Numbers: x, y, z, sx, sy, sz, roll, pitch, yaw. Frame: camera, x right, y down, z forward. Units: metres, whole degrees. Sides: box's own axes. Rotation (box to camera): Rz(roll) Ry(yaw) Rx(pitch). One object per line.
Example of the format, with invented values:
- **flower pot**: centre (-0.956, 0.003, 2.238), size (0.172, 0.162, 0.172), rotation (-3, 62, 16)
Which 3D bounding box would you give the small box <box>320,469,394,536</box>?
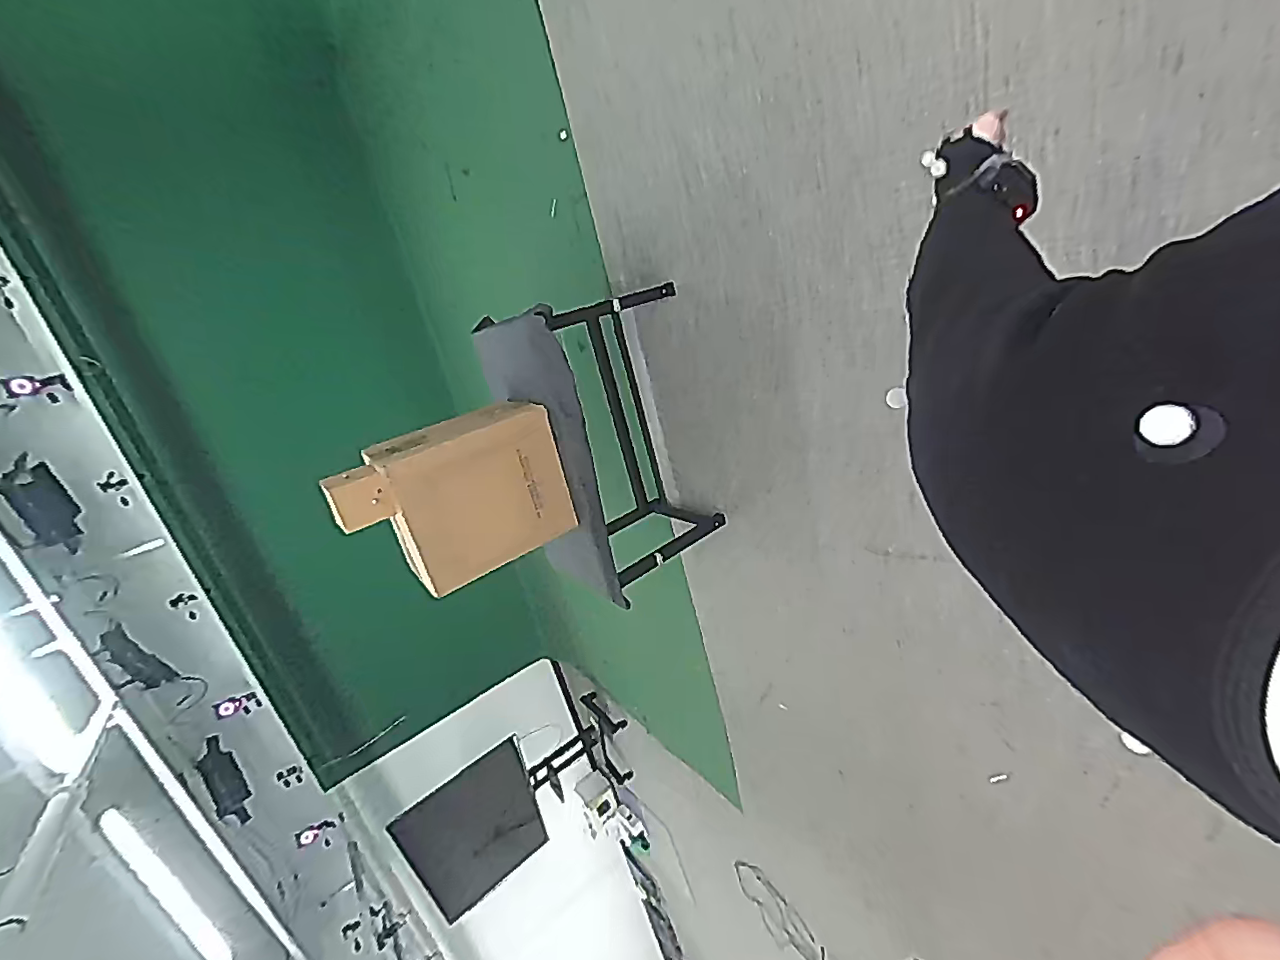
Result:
- **small box**: centre (-0.985, 0.071, 1.890), size (0.179, 0.176, 0.168), rotation (15, 125, 49)
